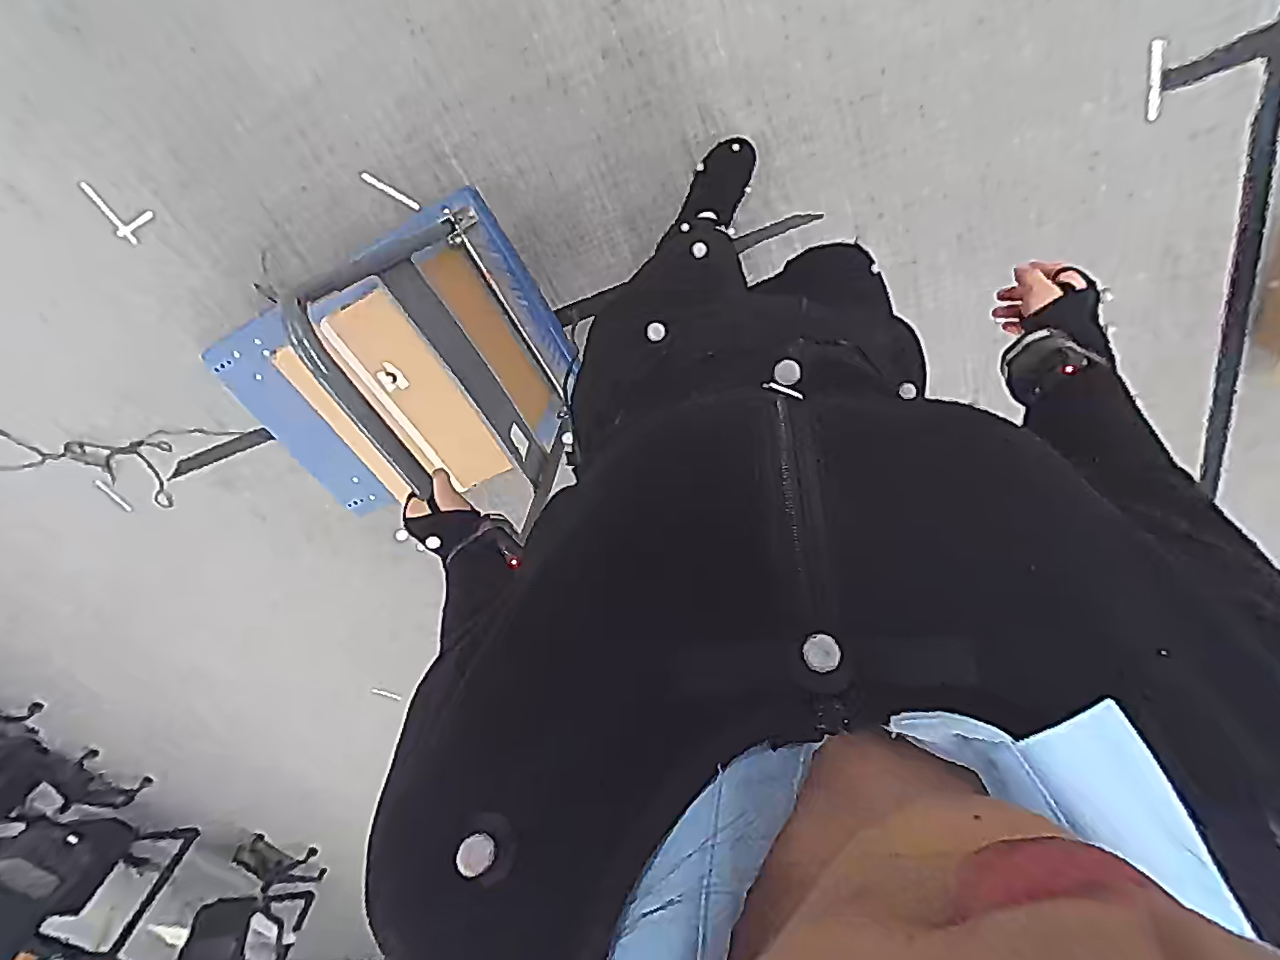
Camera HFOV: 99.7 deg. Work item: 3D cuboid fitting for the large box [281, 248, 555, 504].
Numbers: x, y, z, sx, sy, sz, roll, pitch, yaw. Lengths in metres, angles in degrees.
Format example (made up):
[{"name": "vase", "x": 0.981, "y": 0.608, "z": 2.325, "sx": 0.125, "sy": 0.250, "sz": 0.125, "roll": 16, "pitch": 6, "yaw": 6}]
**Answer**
[{"name": "large box", "x": -0.447, "y": -0.225, "z": 1.193, "sx": 0.320, "sy": 0.320, "sz": 0.408, "roll": -21, "pitch": 120, "yaw": 19}]
